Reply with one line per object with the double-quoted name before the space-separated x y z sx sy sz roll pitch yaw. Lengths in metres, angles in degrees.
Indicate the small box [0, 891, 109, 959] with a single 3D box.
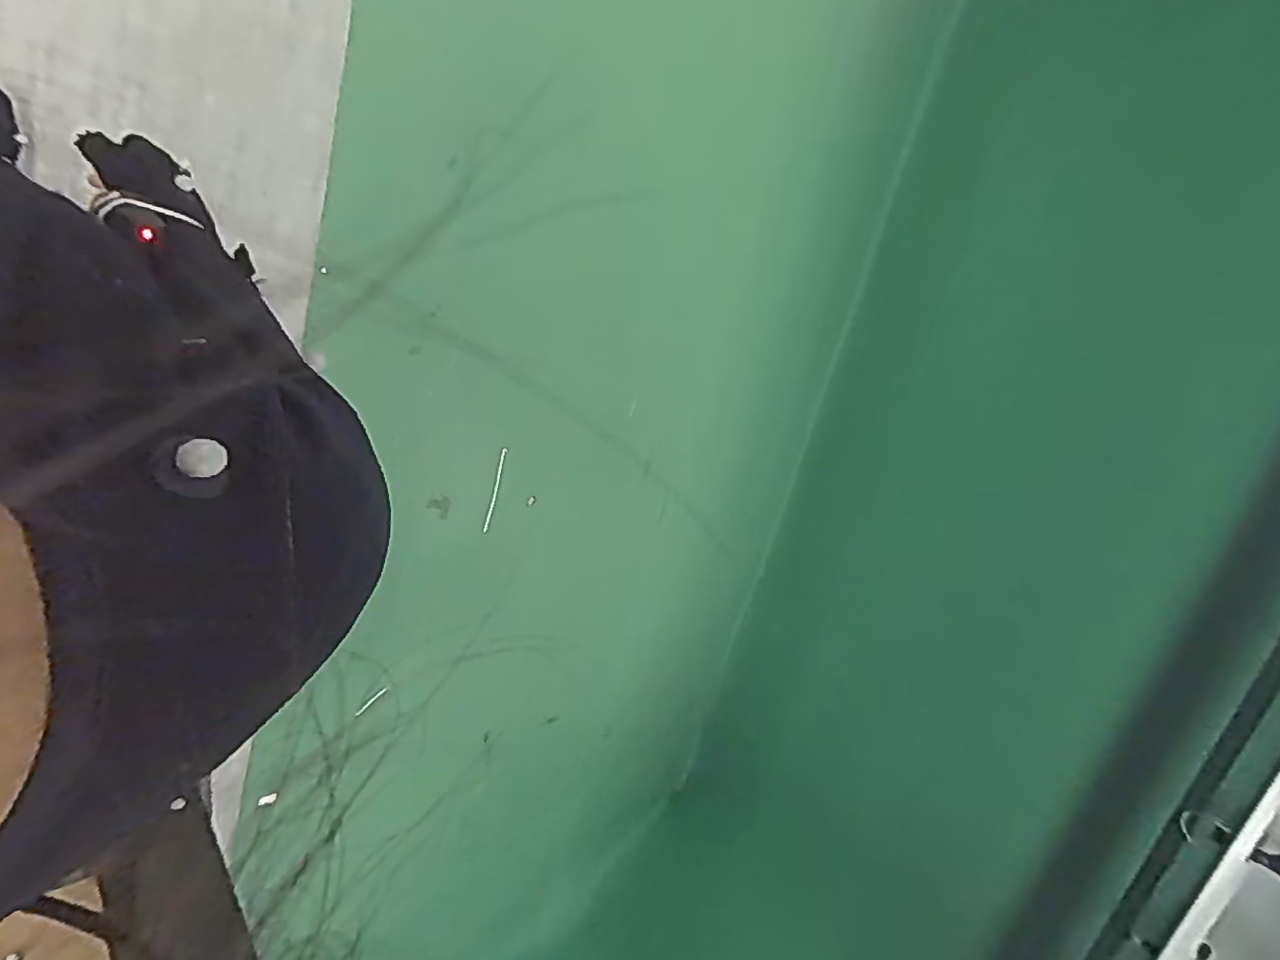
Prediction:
"small box" -0.732 0.622 0.614 0.168 0.176 0.179 3 109 -50
